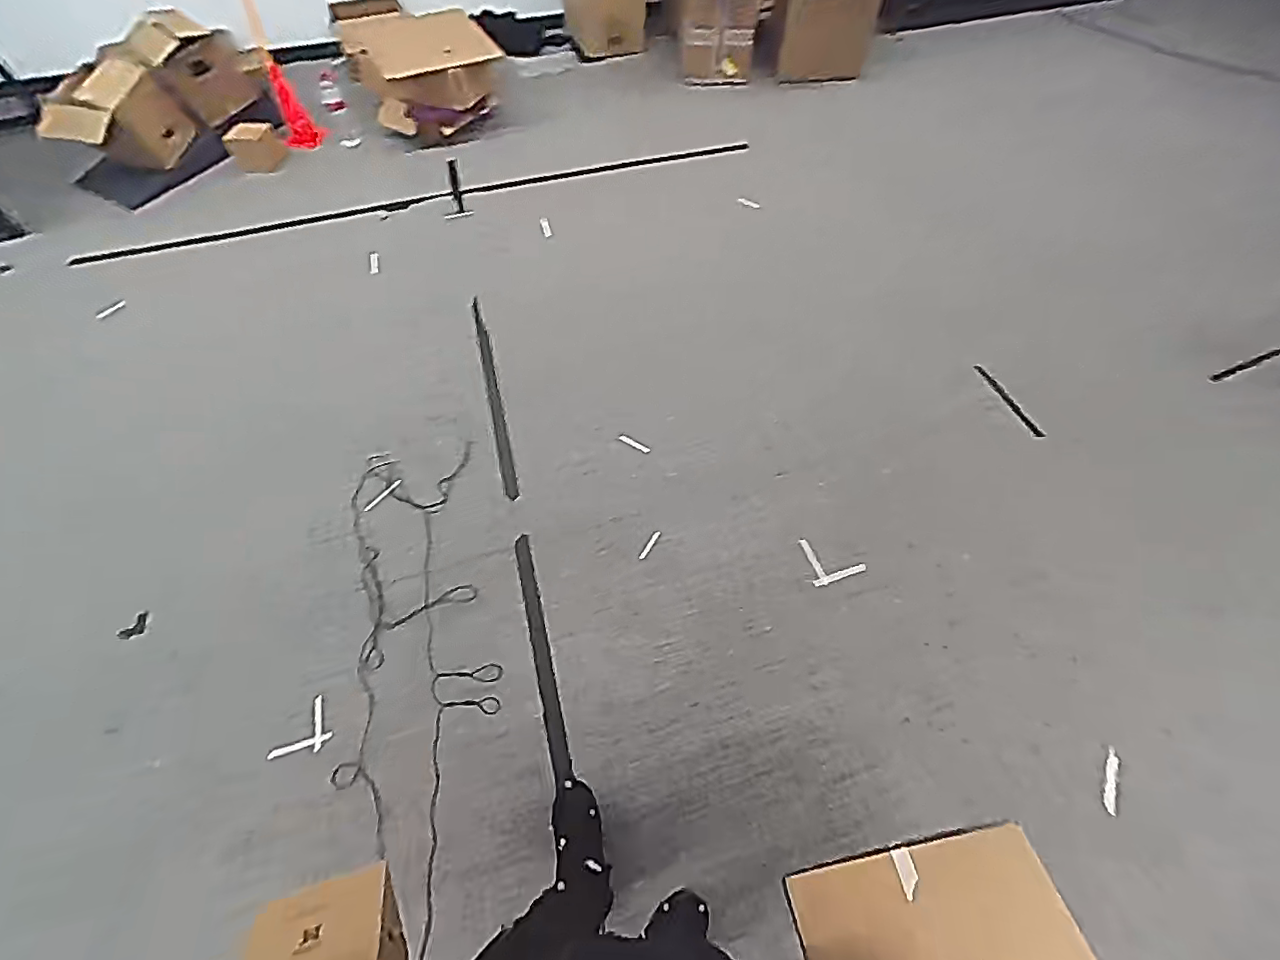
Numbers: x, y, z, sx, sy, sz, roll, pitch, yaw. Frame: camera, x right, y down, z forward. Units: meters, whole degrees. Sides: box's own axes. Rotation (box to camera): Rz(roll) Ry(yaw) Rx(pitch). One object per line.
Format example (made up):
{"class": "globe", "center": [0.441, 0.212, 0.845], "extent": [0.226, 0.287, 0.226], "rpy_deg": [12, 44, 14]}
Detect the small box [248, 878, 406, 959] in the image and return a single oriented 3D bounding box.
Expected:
{"class": "small box", "center": [-0.392, 0.672, 0.682], "extent": [0.168, 0.179, 0.176], "rpy_deg": [-10, 96, -21]}
